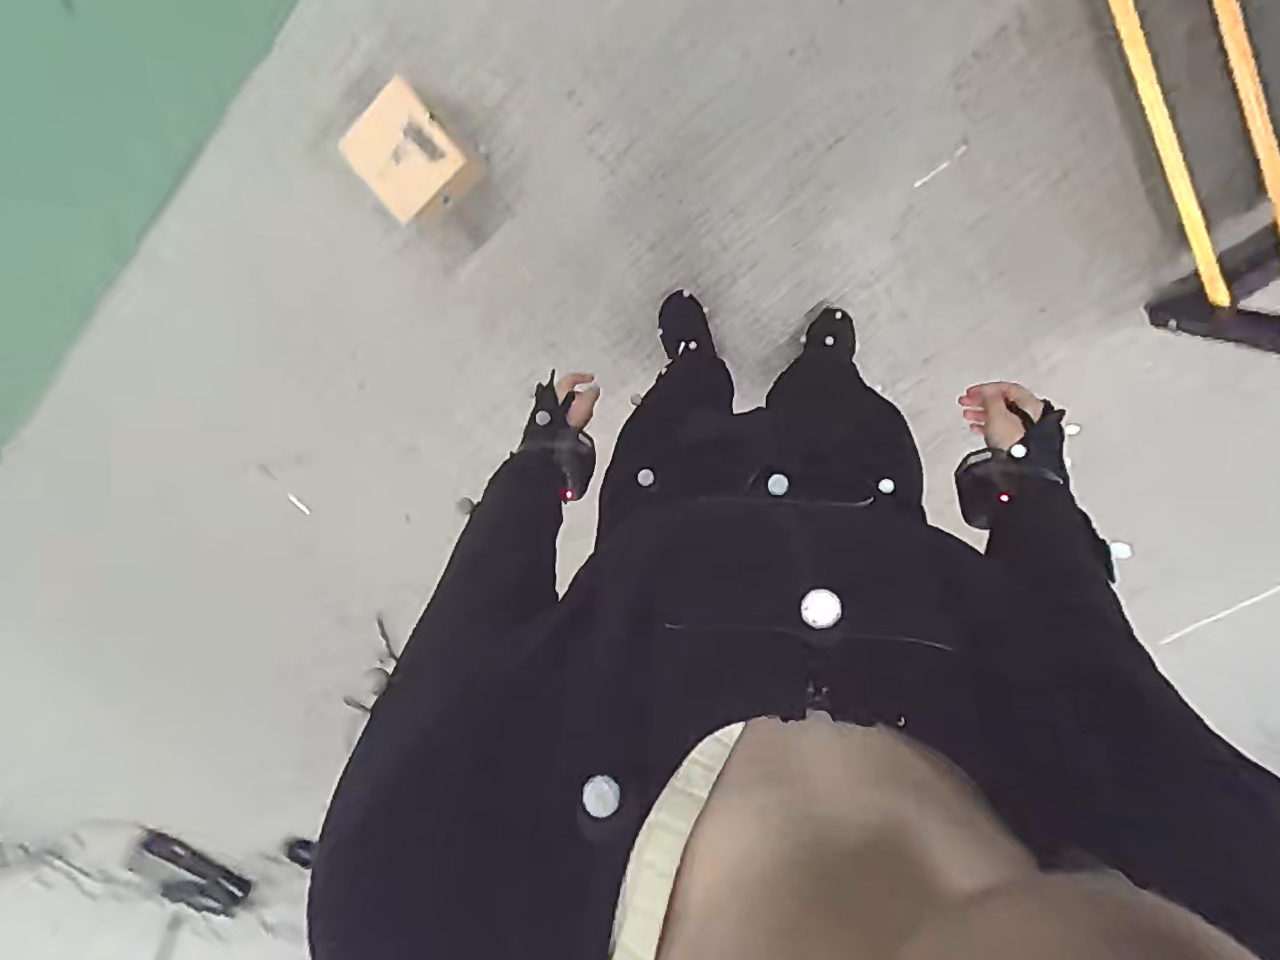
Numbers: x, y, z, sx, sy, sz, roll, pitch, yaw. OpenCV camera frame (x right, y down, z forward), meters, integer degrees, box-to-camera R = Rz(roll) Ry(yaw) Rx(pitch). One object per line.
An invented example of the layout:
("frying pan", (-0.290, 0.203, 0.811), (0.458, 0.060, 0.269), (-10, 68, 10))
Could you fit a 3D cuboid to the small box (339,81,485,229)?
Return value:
("small box", (-0.421, -0.612, 1.039), (0.179, 0.176, 0.168), (-34, 110, 18))
